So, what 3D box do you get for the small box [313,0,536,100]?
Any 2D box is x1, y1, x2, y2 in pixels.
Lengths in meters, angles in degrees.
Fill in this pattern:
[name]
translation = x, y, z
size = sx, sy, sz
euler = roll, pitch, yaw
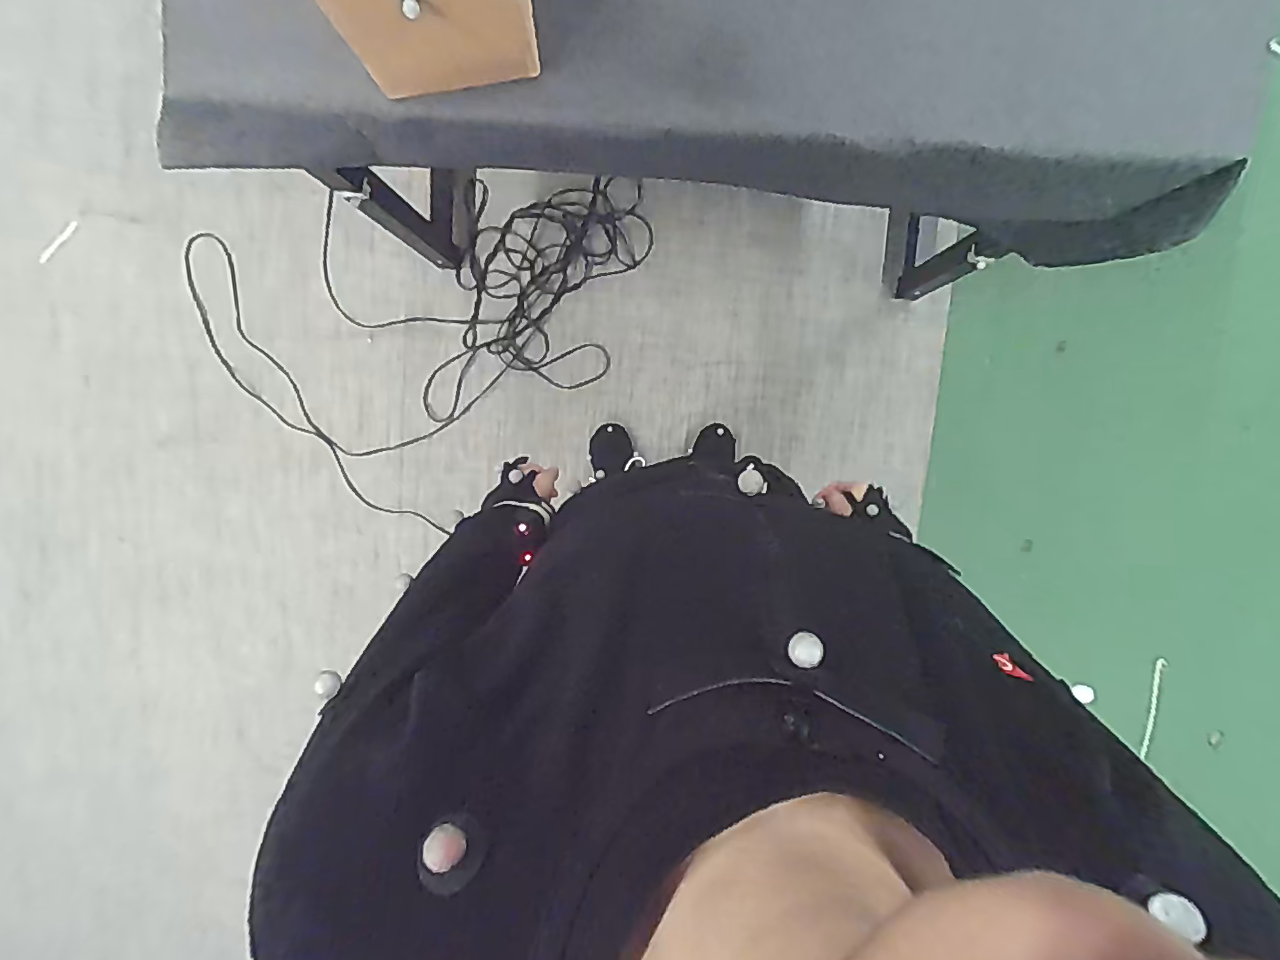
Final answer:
[small box]
translation = -0.204, -0.506, 0.517
size = 0.179, 0.176, 0.168
euler = -7, 94, 2
